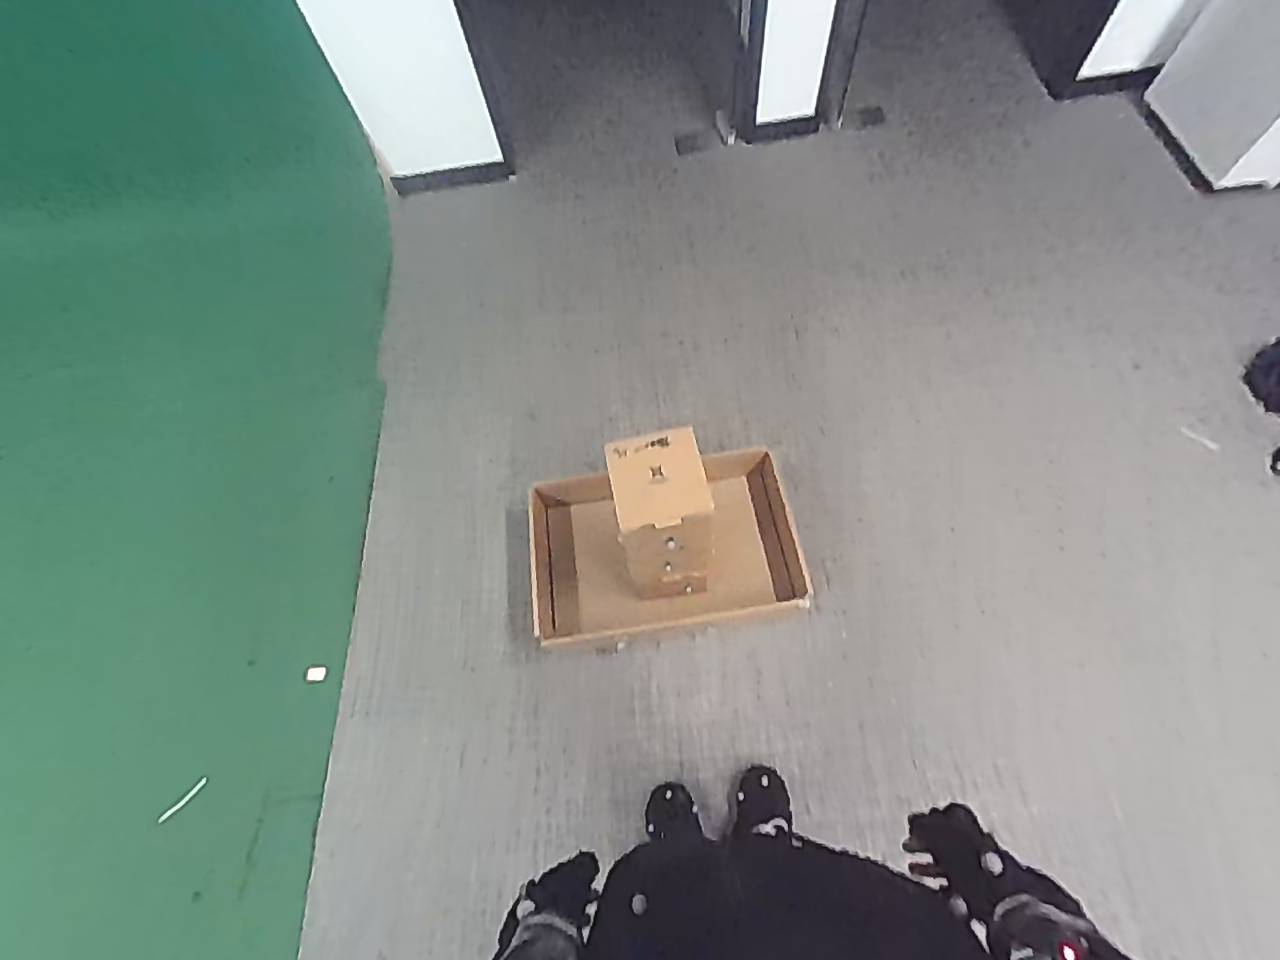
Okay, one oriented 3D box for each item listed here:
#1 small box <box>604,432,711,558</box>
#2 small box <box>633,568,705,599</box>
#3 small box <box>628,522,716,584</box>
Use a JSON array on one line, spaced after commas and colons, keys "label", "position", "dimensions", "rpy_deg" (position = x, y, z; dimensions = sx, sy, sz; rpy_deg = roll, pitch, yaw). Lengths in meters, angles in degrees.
[{"label": "small box", "position": [0.036, 0.038, 1.018], "dimensions": [0.168, 0.176, 0.179], "rpy_deg": [-12, 64, 0]}, {"label": "small box", "position": [0.066, 0.182, 1.309], "dimensions": [0.168, 0.176, 0.179], "rpy_deg": [-8, 62, 1]}, {"label": "small box", "position": [0.055, 0.112, 1.162], "dimensions": [0.179, 0.176, 0.168], "rpy_deg": [-12, 64, -2]}]
